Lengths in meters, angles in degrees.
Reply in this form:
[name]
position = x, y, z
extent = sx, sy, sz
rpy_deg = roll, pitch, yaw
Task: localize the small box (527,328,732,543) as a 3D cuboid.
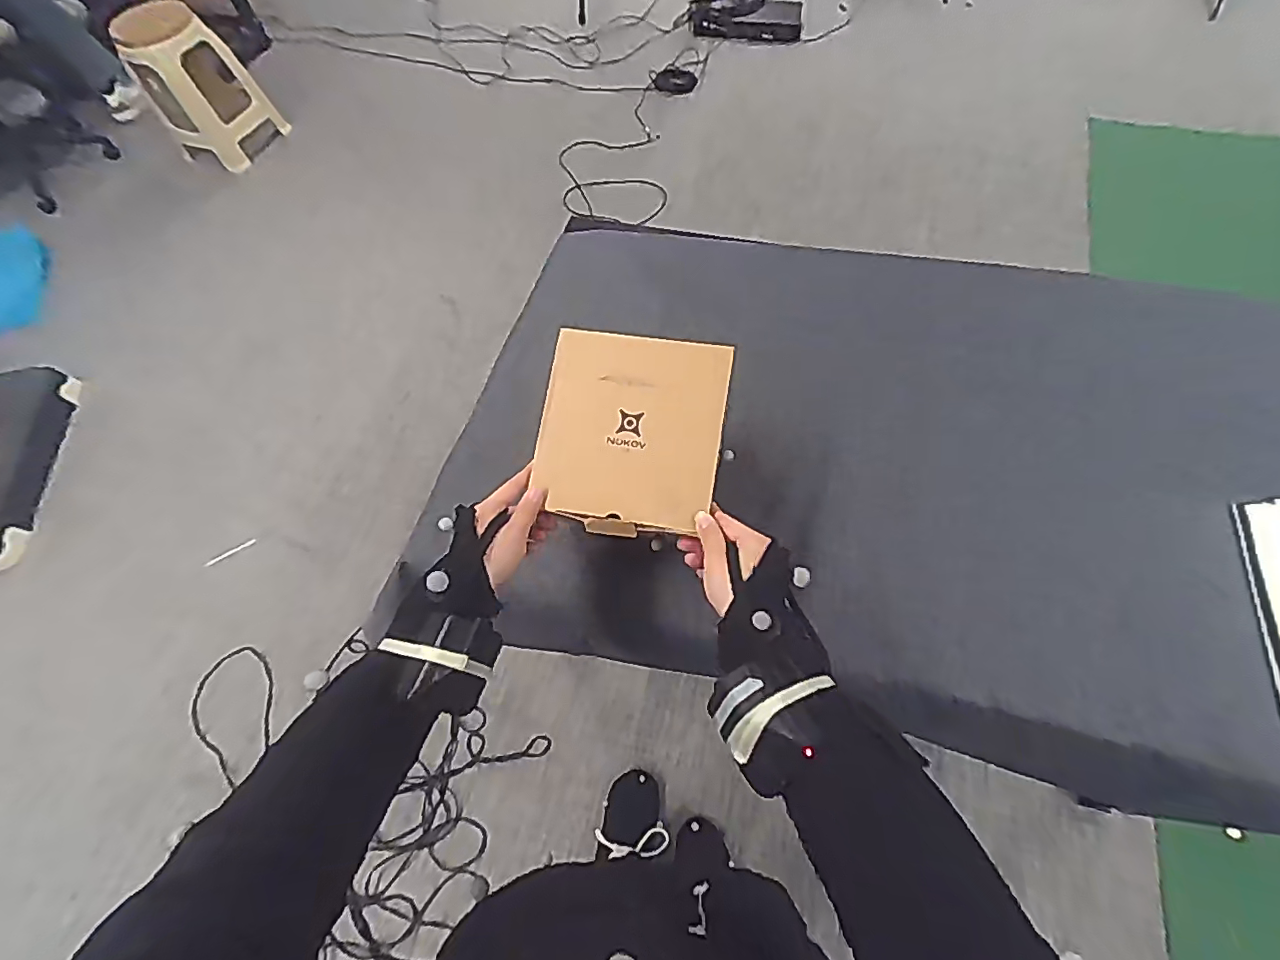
[small box]
position = -0.001, -0.034, 0.564
extent = 0.168, 0.176, 0.179
rpy_deg = 8, 80, 7
